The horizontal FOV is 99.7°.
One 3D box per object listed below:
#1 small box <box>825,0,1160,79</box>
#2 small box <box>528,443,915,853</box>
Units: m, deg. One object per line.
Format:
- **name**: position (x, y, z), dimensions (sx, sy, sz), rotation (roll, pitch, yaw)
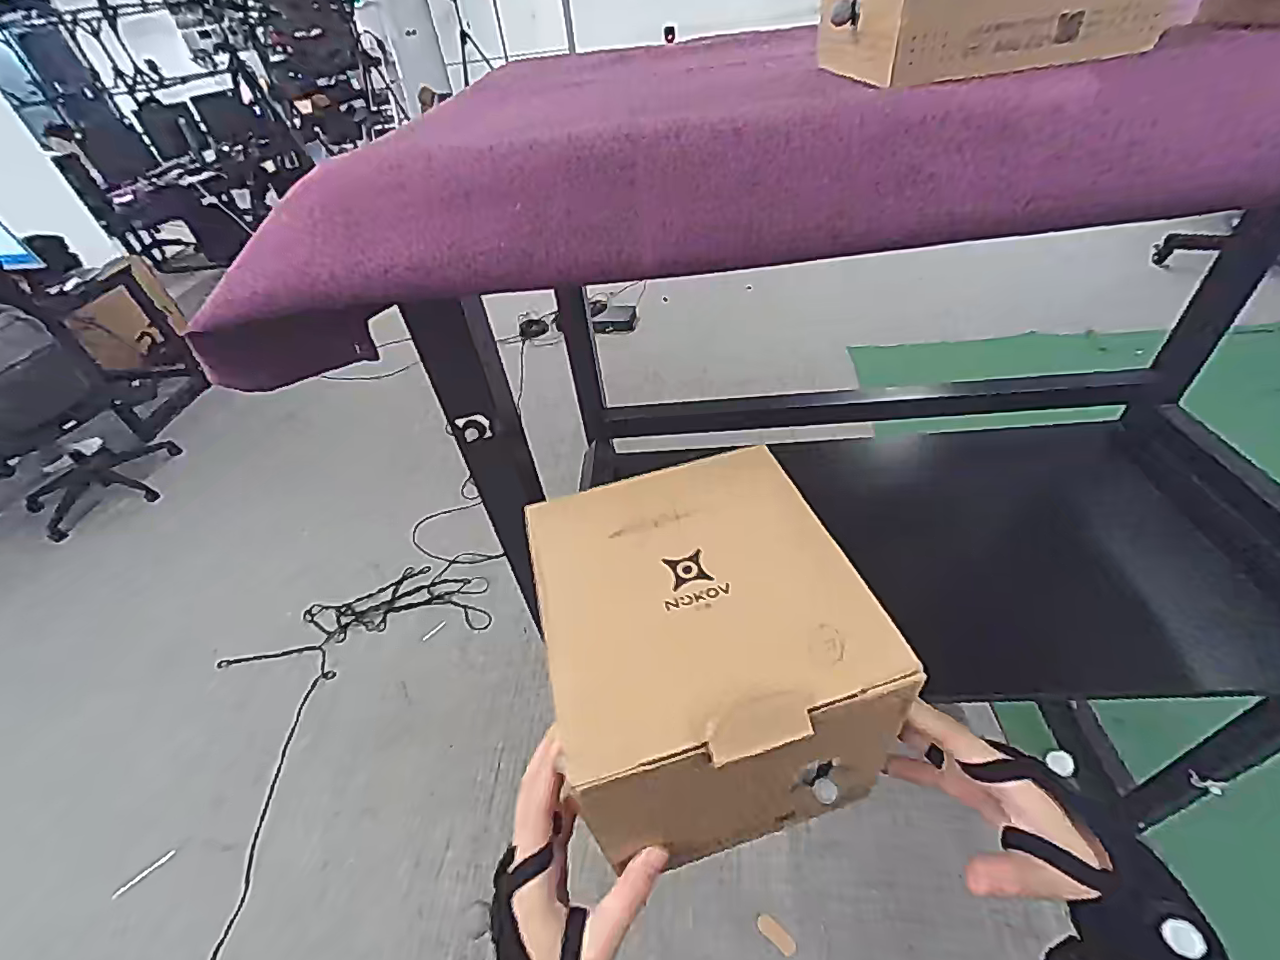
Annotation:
- **small box**: position (0.232, -0.378, 0.353), dimensions (0.168, 0.176, 0.179), rotation (-5, 42, 3)
- **small box**: position (0.035, 0.107, 0.345), dimensions (0.168, 0.176, 0.179), rotation (-13, 42, -7)
